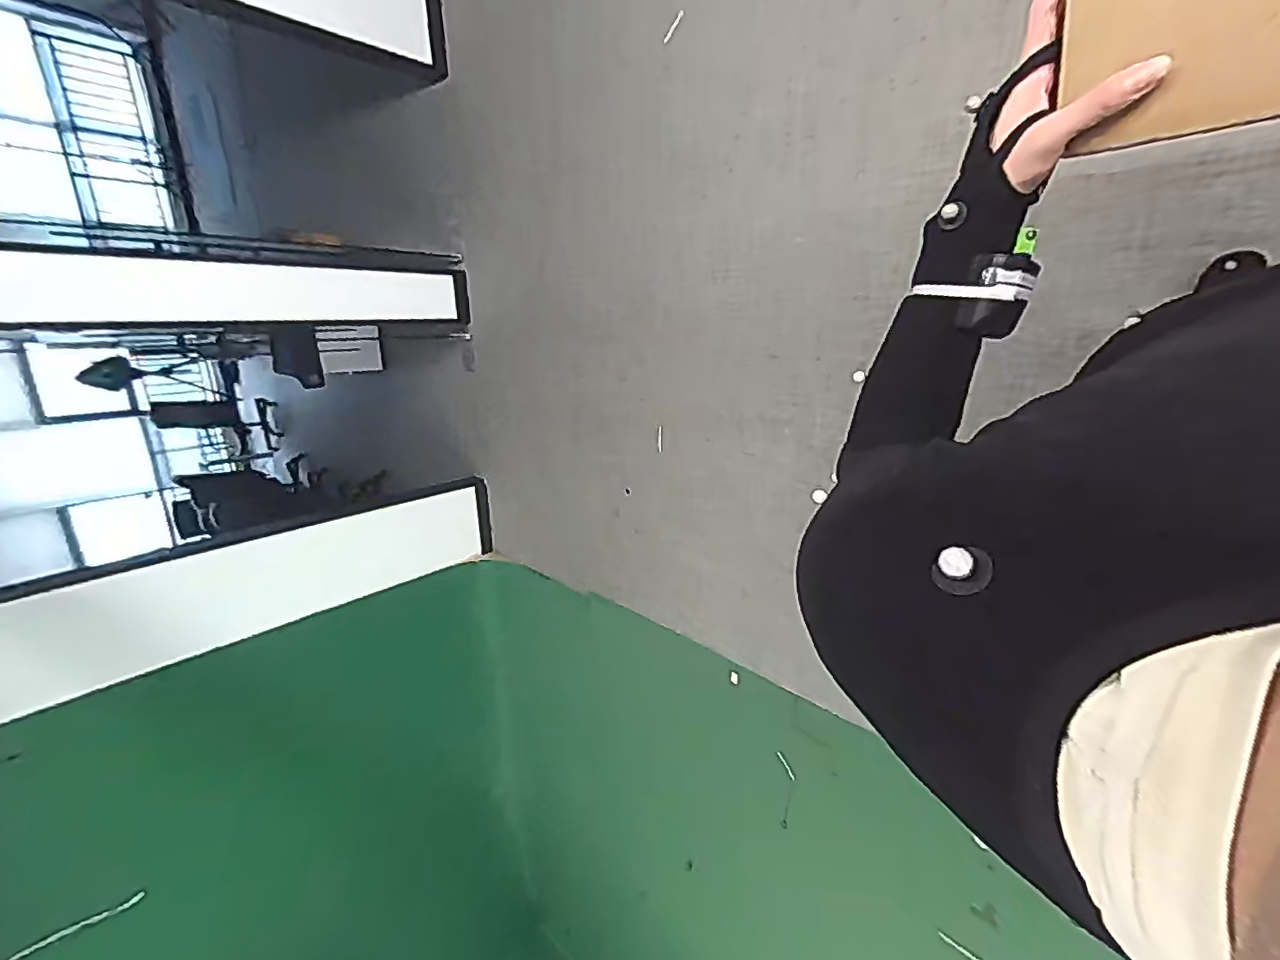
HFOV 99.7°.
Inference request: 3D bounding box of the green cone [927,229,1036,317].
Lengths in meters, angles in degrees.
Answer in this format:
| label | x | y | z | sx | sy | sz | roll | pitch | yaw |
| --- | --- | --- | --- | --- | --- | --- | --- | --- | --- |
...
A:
| label | x | y | z | sx | sy | sz | roll | pitch | yaw |
| --- | --- | --- | --- | --- | --- | --- | --- | --- | --- |
| green cone | 0.738 | -0.484 | 1.246 | 0.200 | 0.368 | 0.202 | 22 | 118 | 39 |
